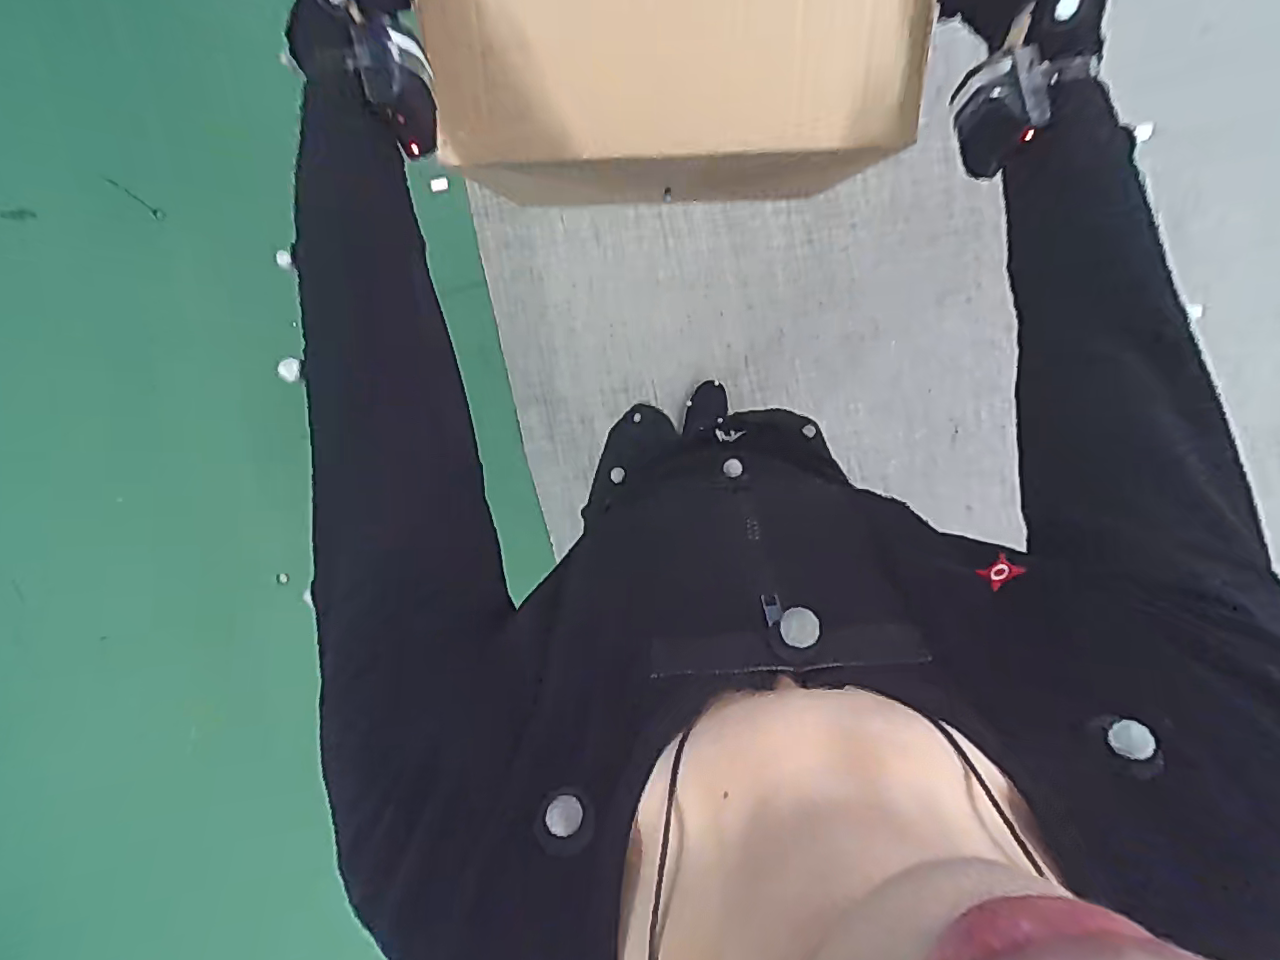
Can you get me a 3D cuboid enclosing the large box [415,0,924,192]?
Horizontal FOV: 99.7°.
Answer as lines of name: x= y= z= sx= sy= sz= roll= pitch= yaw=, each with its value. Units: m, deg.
large box: x=0.024 y=-0.485 z=0.538 sx=0.408 sy=0.320 sz=0.320 roll=-1 pitch=110 yaw=2
